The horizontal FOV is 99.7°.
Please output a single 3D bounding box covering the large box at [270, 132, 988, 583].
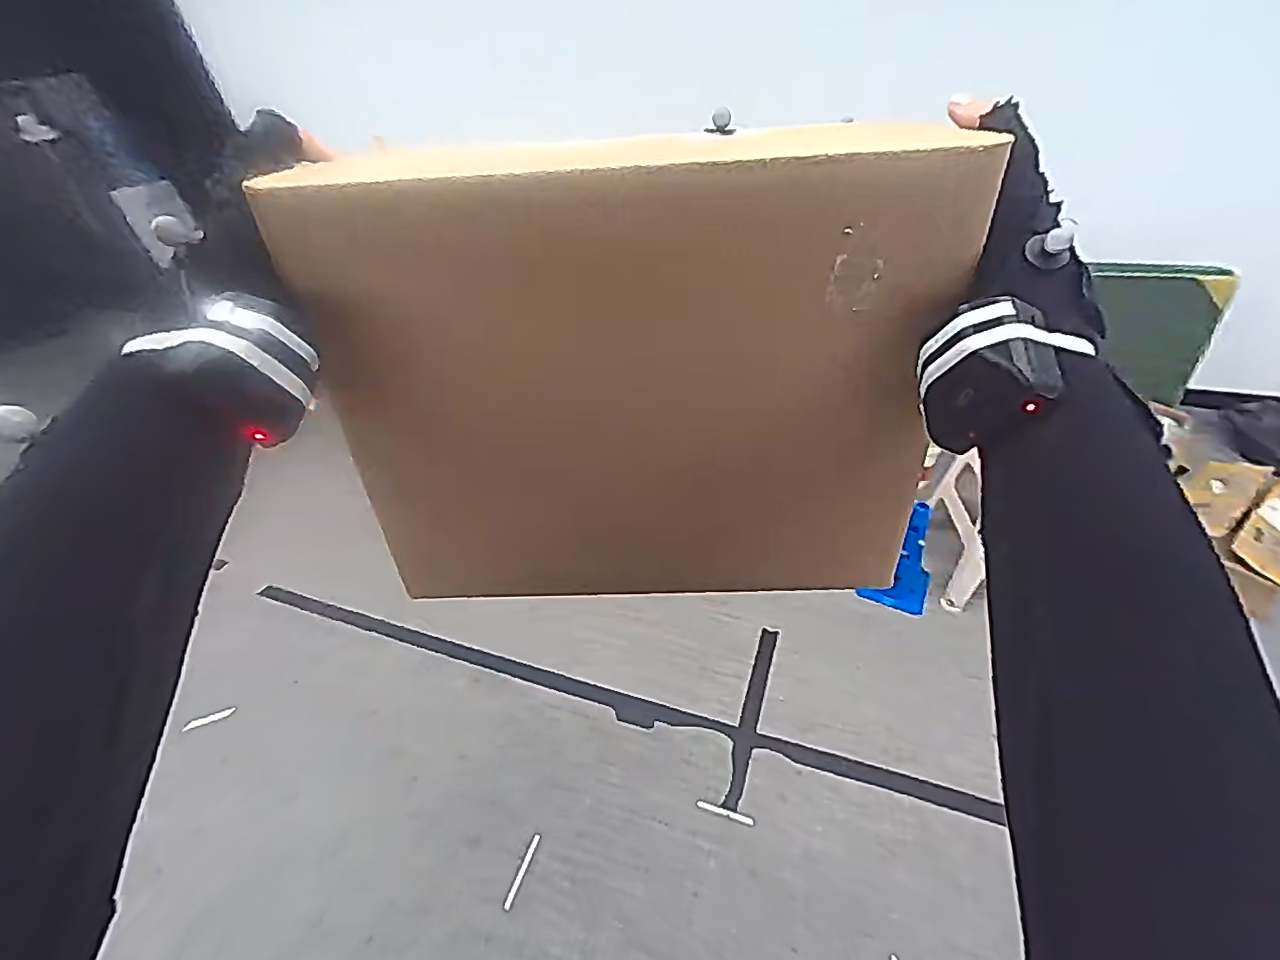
[{"bbox_3d":[-0.004,-0.123,0.497,0.408,0.320,0.320,-1,34,2],"label":"large box"}]
